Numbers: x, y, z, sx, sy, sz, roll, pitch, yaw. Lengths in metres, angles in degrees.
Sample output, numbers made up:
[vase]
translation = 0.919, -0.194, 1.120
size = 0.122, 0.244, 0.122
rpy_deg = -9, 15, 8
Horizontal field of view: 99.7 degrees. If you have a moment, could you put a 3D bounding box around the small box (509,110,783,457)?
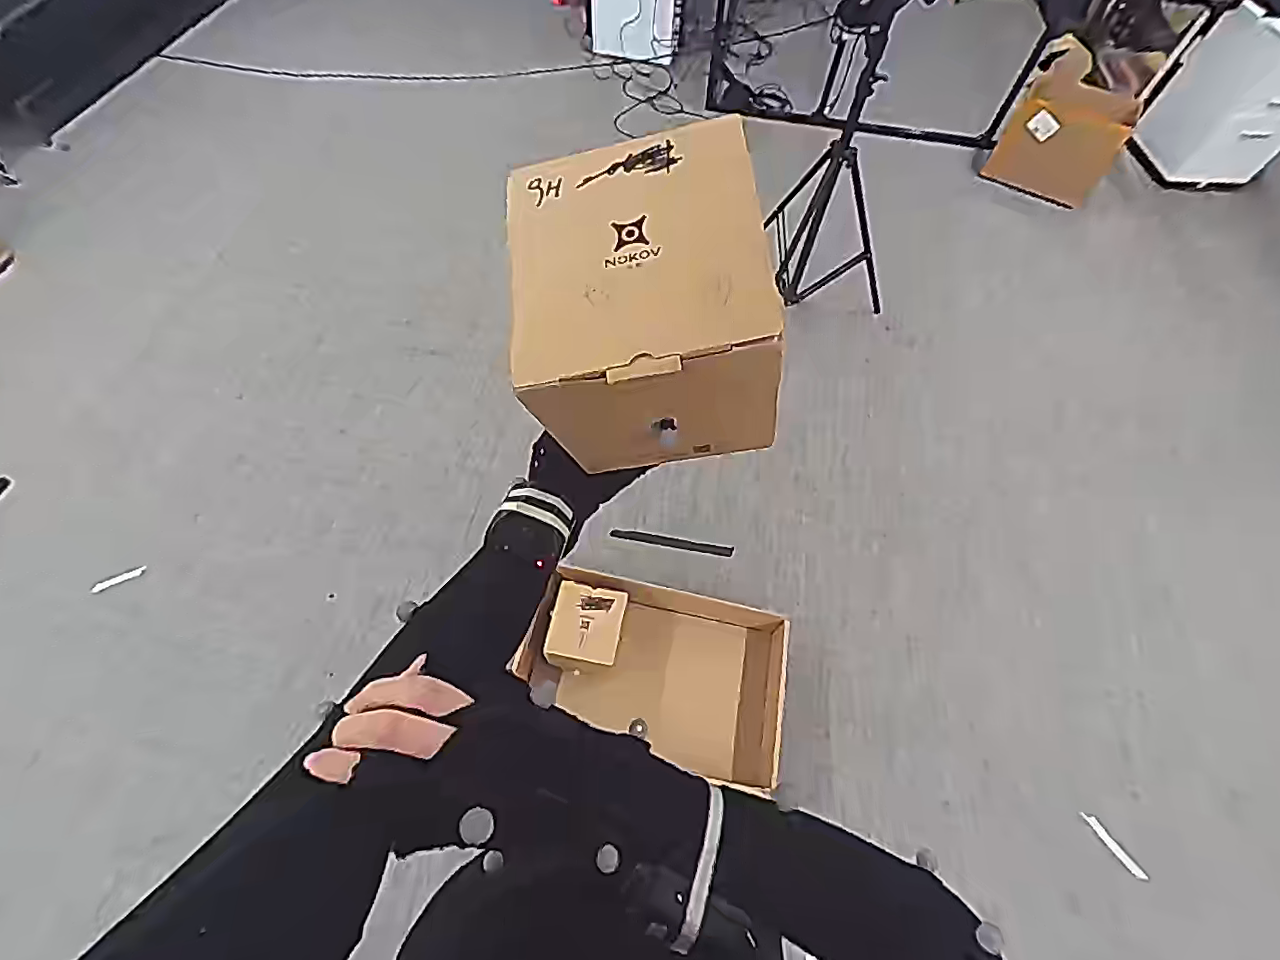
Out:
[small box]
translation = 0.012, -0.126, 0.416
size = 0.168, 0.176, 0.179
rpy_deg = -9, 72, 9
